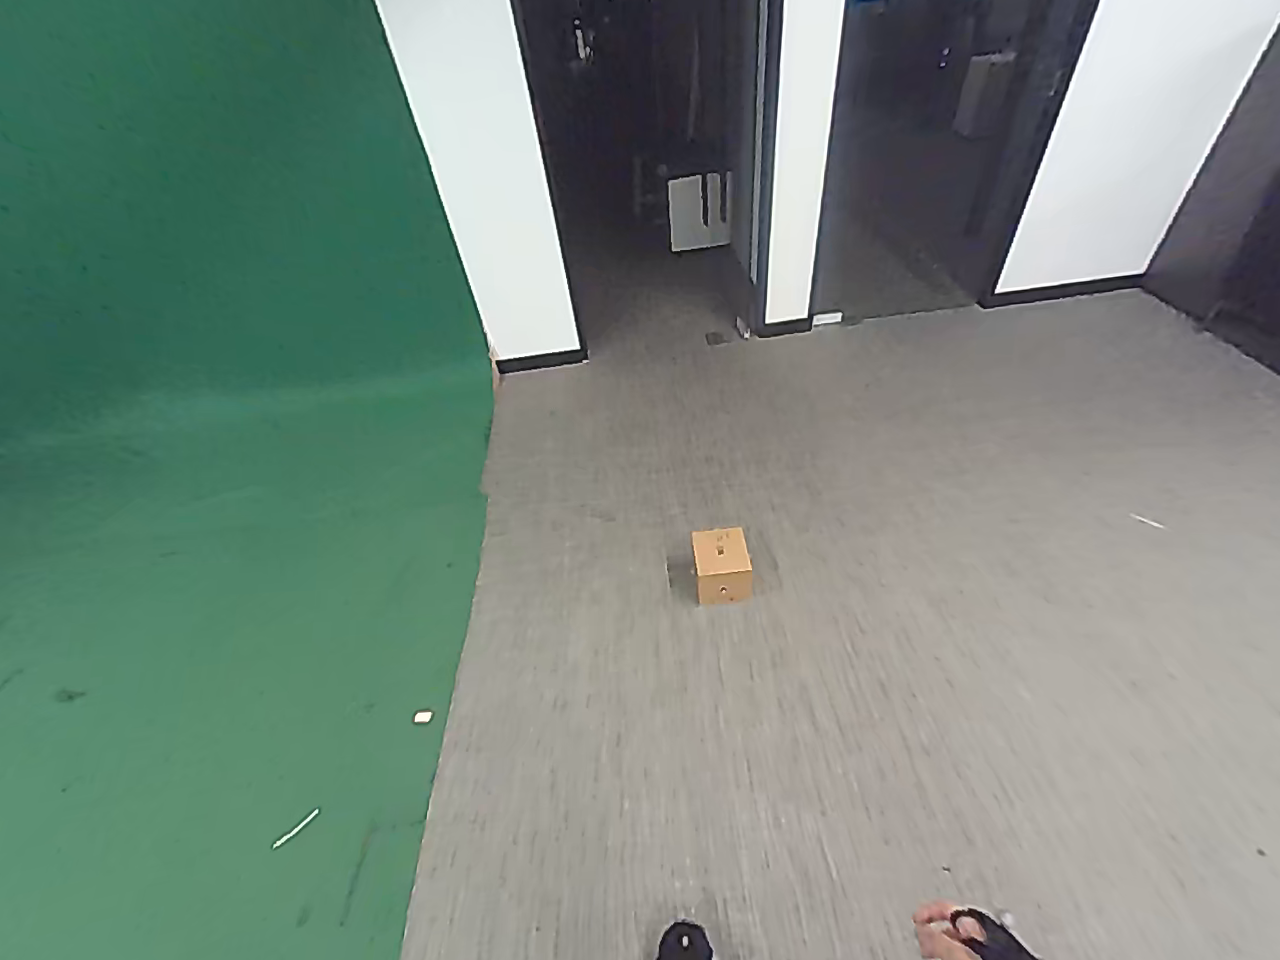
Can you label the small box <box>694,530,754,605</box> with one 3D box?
[{"bbox_3d":[0.269,0.287,1.740,0.168,0.176,0.179,-6,44,2],"label":"small box"}]
